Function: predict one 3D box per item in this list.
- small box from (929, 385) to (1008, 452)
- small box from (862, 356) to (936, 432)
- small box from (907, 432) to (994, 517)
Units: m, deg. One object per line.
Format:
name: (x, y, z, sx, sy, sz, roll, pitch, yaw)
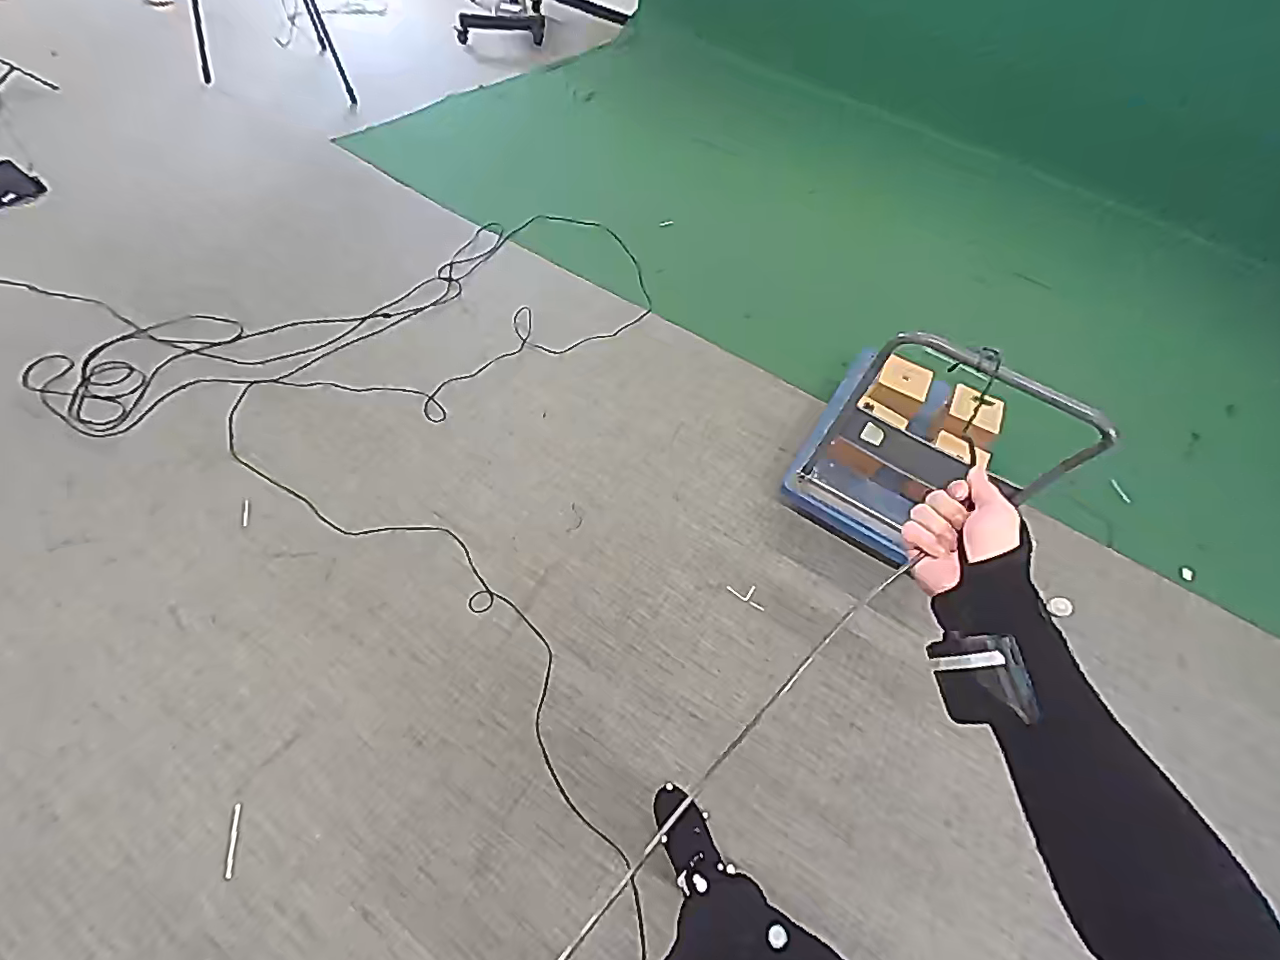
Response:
small box: (1.141, -0.191, 1.889, 0.168, 0.176, 0.179, 27, 57, 12)
small box: (0.923, -0.304, 1.939, 0.168, 0.176, 0.179, 28, 56, 11)
small box: (0.995, -0.014, 1.746, 0.168, 0.176, 0.179, 32, 58, 14)
